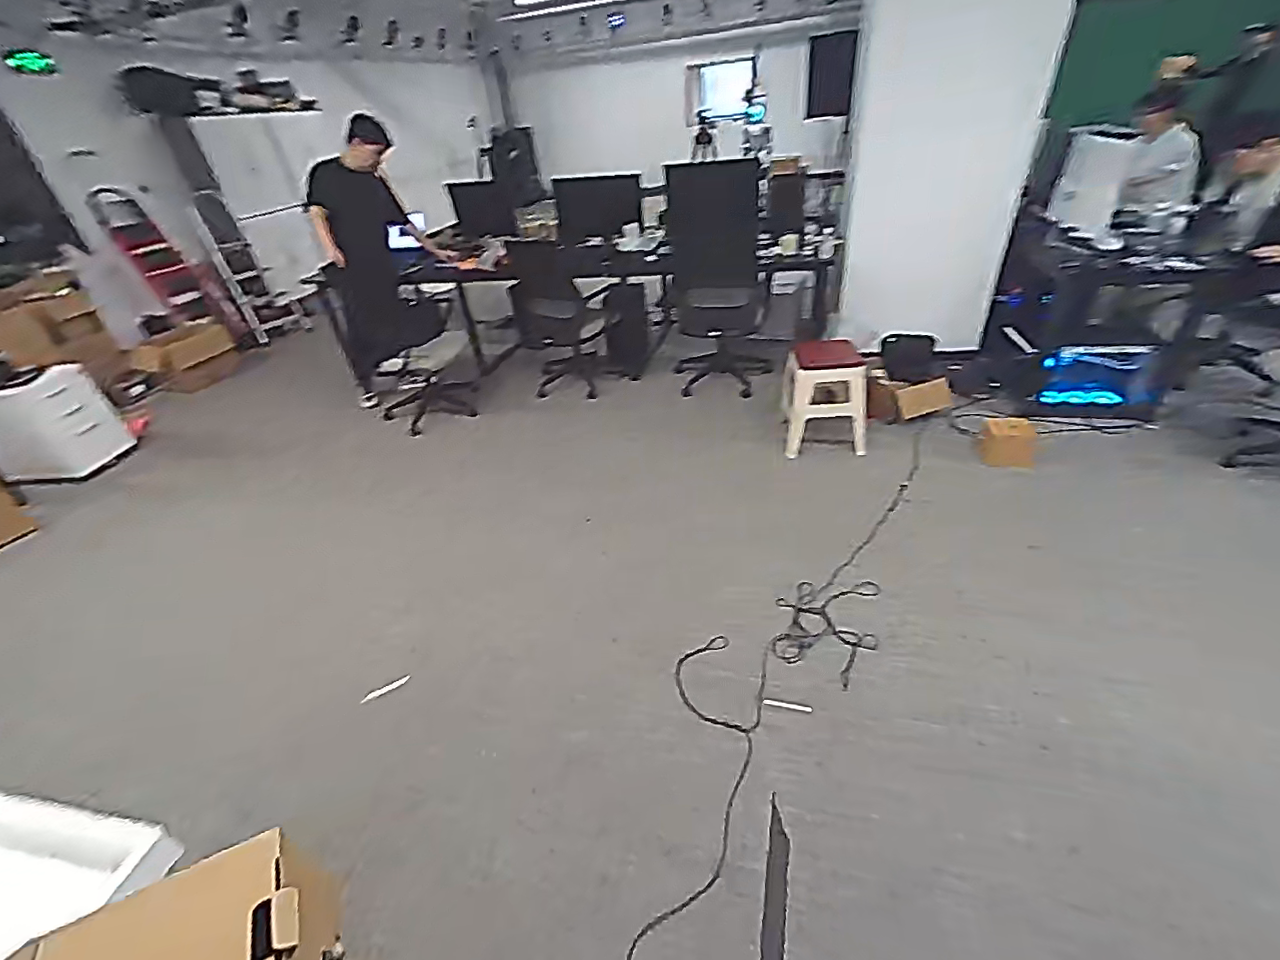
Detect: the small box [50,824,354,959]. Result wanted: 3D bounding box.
[{"bbox_3d":[-0.368,0.453,0.469,0.179,0.176,0.168,-16,41,-21],"label":"small box"}]
